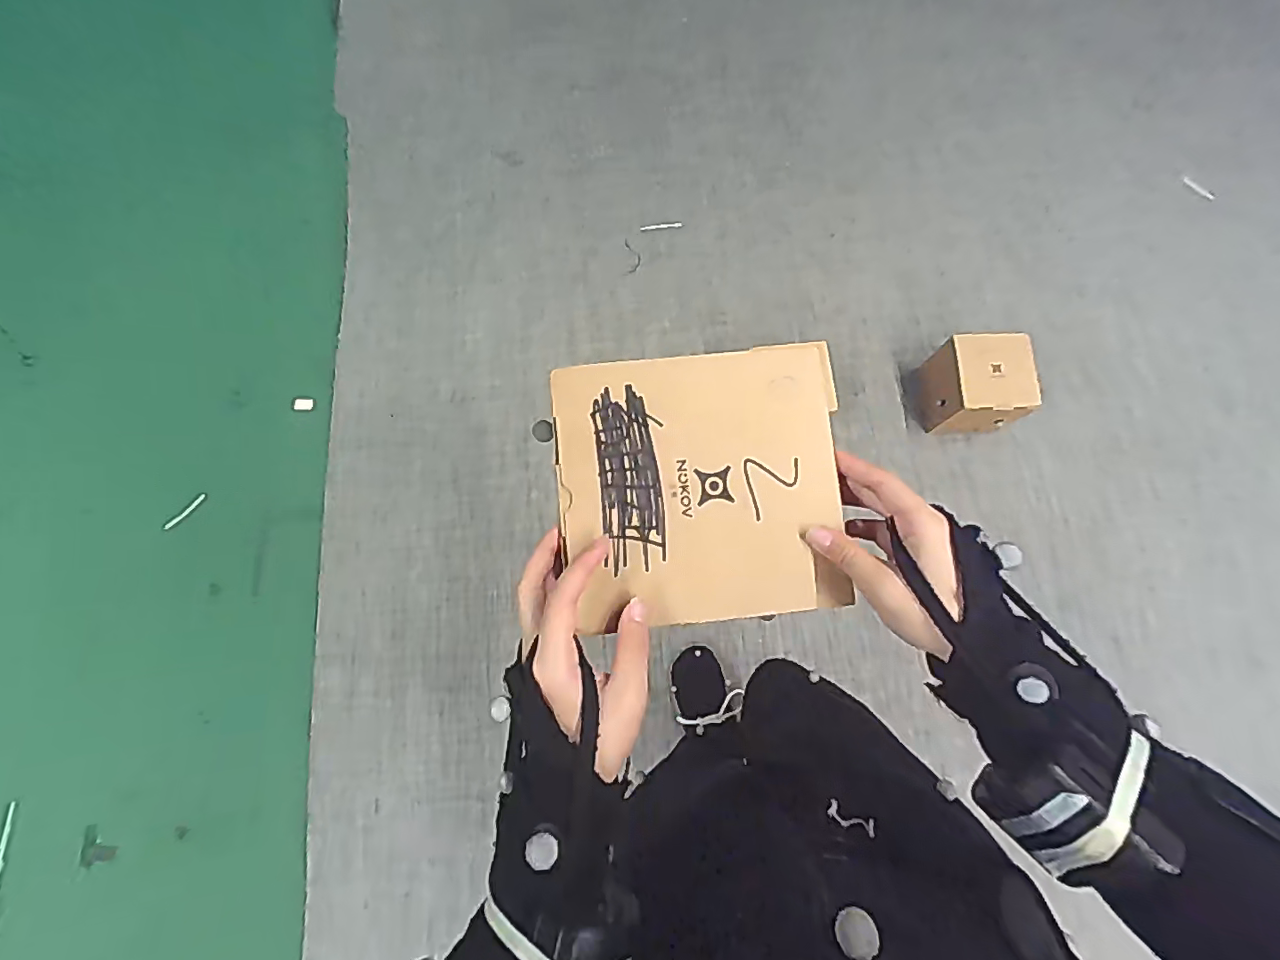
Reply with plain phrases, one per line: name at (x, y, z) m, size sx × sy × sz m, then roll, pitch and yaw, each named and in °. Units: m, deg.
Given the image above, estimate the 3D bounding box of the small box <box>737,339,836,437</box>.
small box at (0.329, -0.206, 1.245) m, size 0.179 × 0.176 × 0.168 m, roll -5°, pitch 76°, yaw 1°

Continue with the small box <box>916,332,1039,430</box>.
small box at (0.759, -0.218, 1.235) m, size 0.168 × 0.176 × 0.179 m, roll 0°, pitch 75°, yaw 0°
